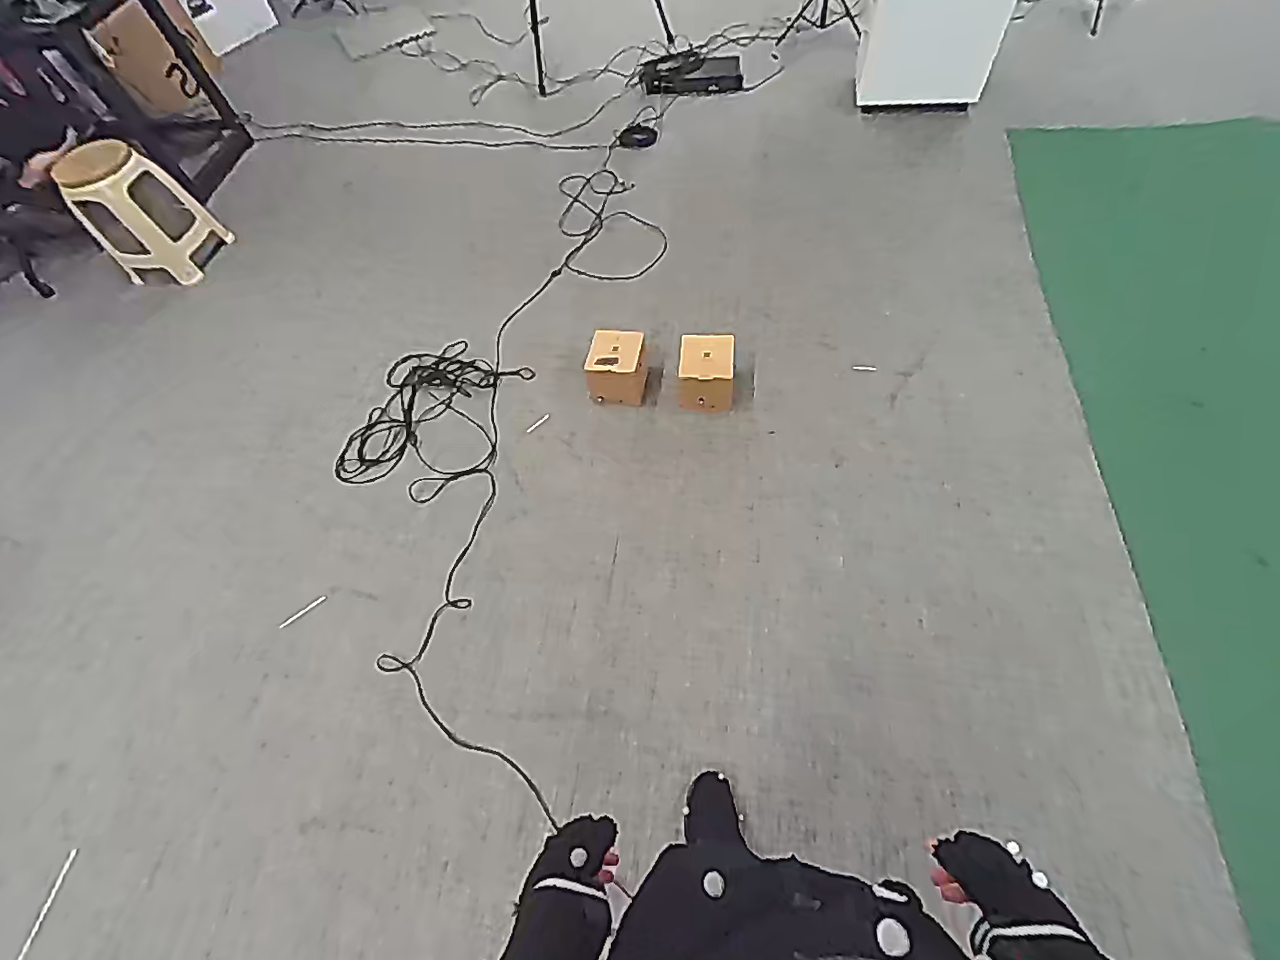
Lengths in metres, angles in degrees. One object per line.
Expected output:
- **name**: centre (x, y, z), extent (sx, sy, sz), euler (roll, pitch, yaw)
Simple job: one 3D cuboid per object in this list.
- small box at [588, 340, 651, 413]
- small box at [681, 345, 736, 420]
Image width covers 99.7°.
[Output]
- **small box**: centre (-0.062, -0.342, 1.798), extent (0.168, 0.176, 0.179), euler (6, 60, 11)
- **small box**: centre (0.223, -0.316, 1.747), extent (0.168, 0.176, 0.179), euler (2, 61, 9)
